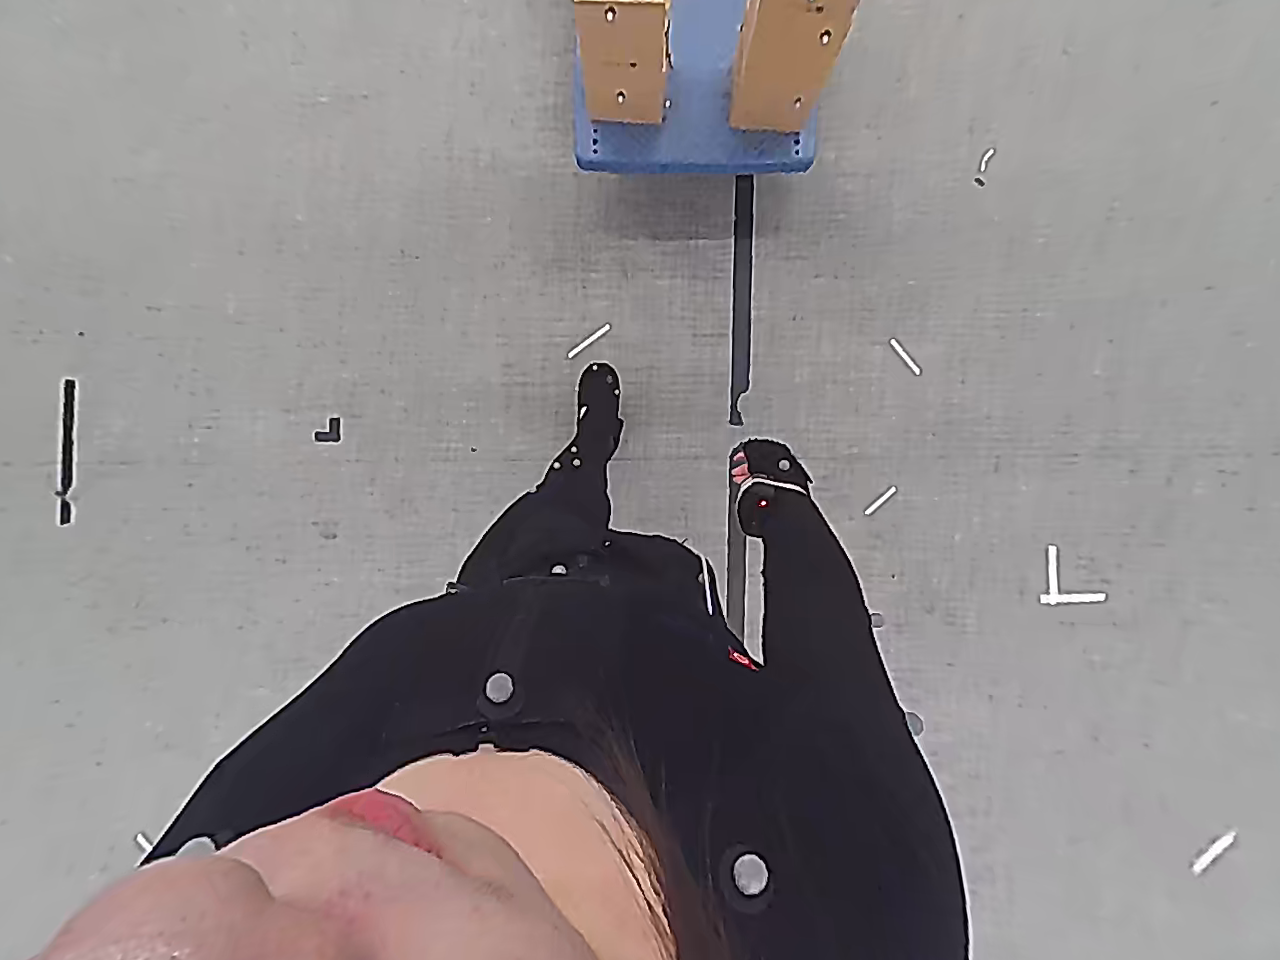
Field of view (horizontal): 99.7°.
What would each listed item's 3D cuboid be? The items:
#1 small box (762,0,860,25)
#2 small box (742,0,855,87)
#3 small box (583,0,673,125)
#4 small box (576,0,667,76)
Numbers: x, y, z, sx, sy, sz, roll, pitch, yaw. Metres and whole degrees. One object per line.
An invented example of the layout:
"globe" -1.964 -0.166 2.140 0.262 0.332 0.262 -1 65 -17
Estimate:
"small box" 0.300 -0.895 0.868 0.168 0.176 0.179 7 90 0
"small box" 0.300 -0.893 1.033 0.179 0.176 0.168 6 90 -1
"small box" -0.025 -0.922 1.197 0.179 0.176 0.168 5 90 1
"small box" -0.030 -0.923 1.032 0.168 0.176 0.179 2 90 1
